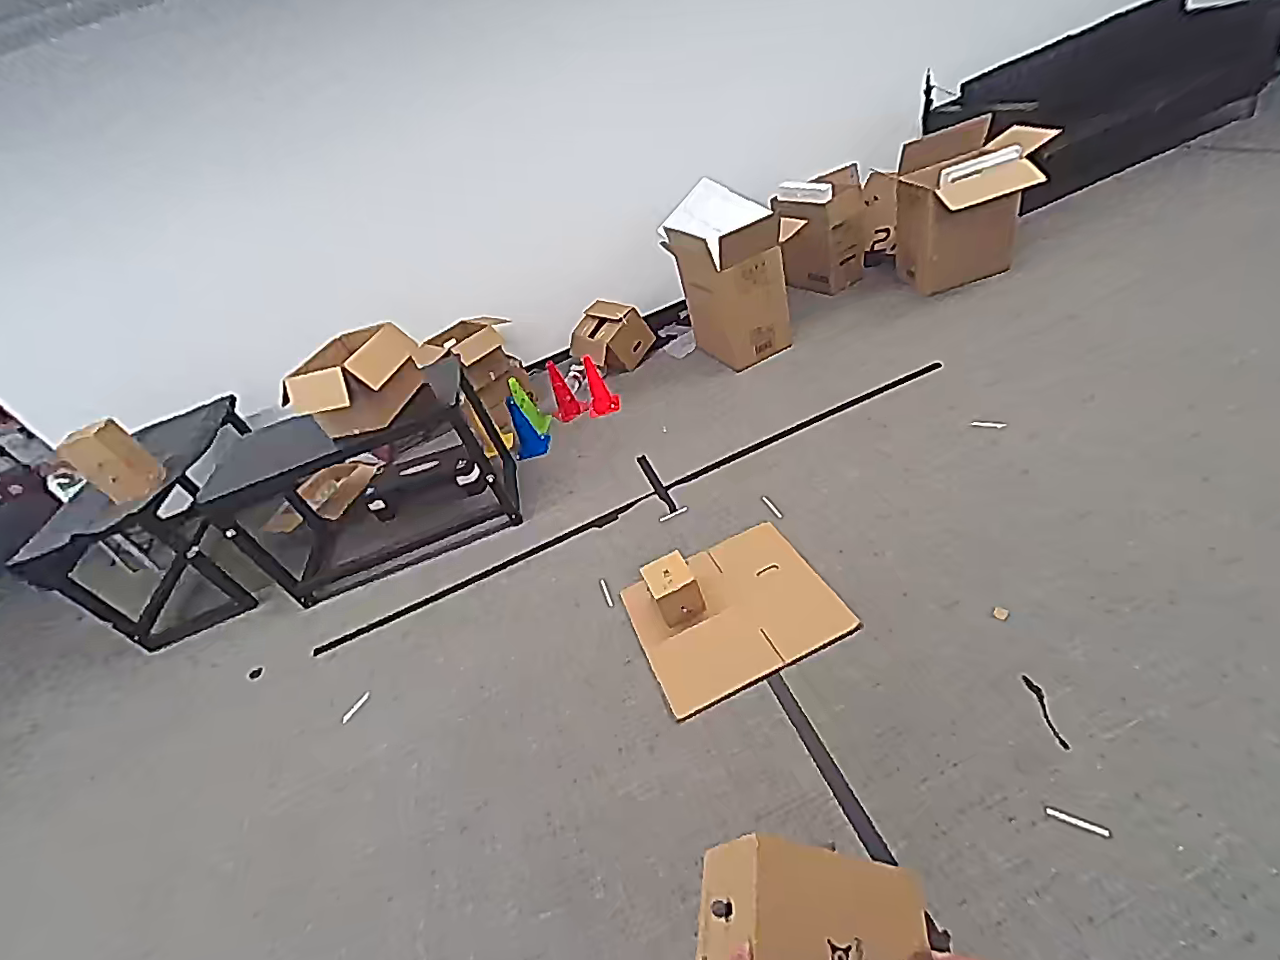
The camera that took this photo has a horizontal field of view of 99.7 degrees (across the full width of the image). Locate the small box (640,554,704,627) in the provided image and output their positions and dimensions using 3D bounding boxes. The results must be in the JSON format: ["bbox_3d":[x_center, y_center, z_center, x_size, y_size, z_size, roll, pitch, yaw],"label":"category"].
[{"bbox_3d":[0.120,0.417,2.032,0.168,0.176,0.179,-26,37,-6],"label":"small box"}]

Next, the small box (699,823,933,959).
[{"bbox_3d":[0.163,0.469,0.539,0.179,0.176,0.168,17,48,-3],"label":"small box"}]
